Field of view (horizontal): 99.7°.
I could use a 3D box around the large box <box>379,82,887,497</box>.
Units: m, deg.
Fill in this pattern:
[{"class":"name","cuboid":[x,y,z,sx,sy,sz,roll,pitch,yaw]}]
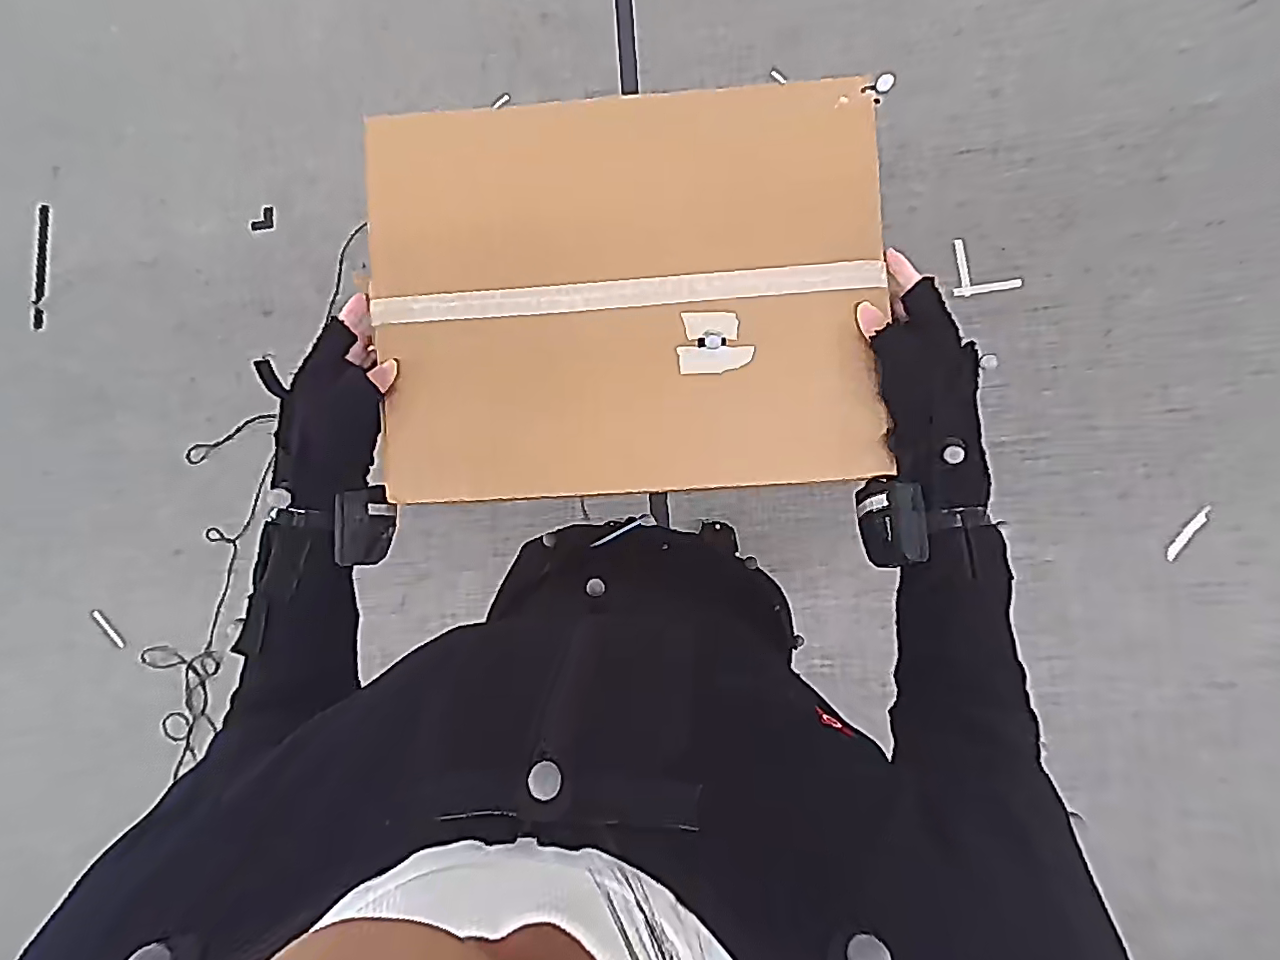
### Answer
[{"class":"large box","cuboid":[-0.006,-0.154,0.589,0.408,0.320,0.320,-4,91,1]}]
